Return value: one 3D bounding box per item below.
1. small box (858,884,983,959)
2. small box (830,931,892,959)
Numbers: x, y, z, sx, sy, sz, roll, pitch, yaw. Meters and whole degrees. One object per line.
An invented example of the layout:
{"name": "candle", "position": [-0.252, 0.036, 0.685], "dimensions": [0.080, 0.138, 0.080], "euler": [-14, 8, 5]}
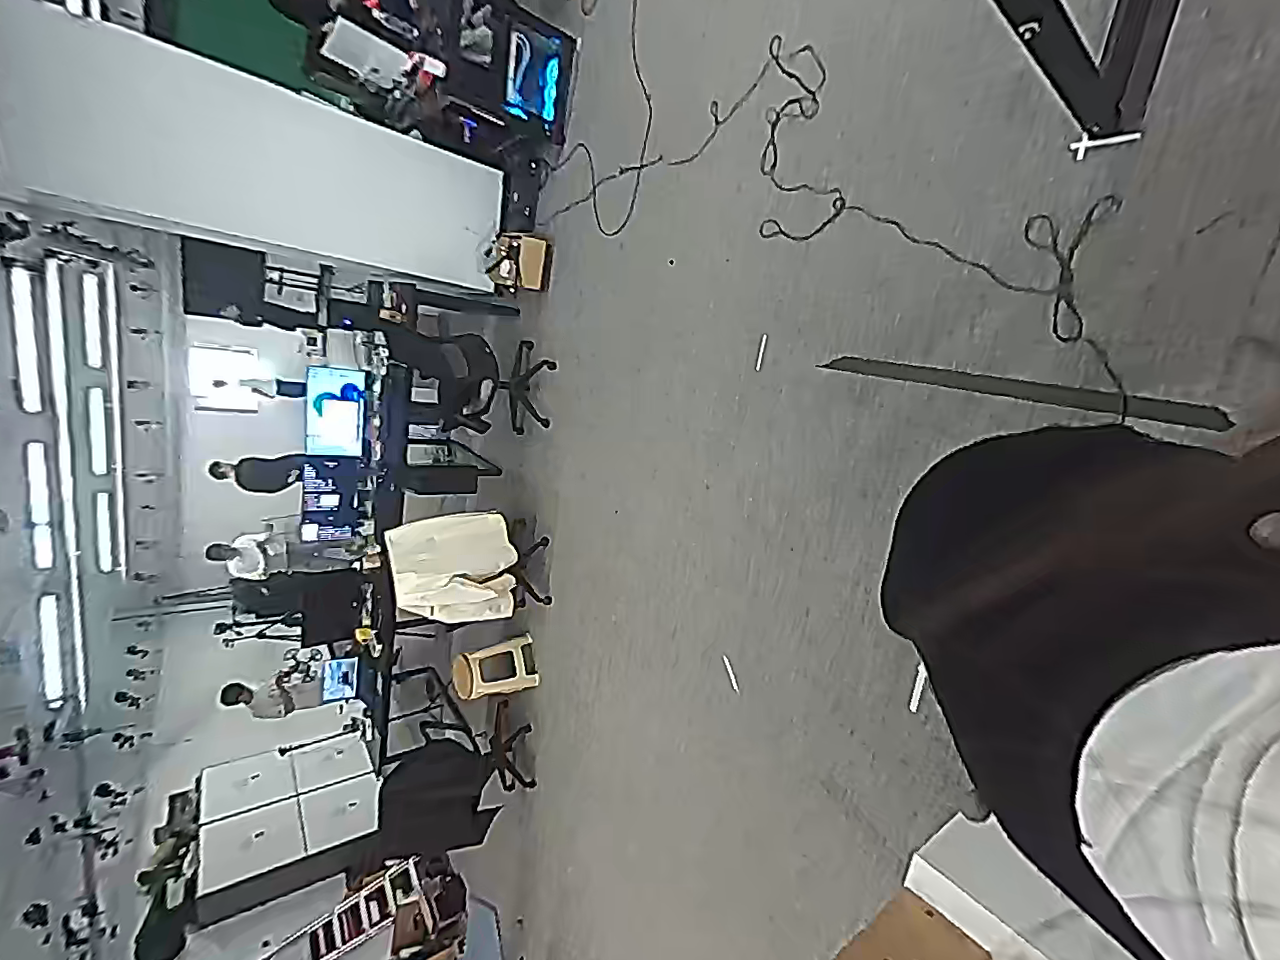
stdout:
{"name": "small box", "position": [0.510, 0.922, 1.009], "dimensions": [0.168, 0.176, 0.179], "euler": [20, 107, 48]}
{"name": "small box", "position": [0.381, 0.926, 0.905], "dimensions": [0.168, 0.176, 0.179], "euler": [22, 108, 49]}
